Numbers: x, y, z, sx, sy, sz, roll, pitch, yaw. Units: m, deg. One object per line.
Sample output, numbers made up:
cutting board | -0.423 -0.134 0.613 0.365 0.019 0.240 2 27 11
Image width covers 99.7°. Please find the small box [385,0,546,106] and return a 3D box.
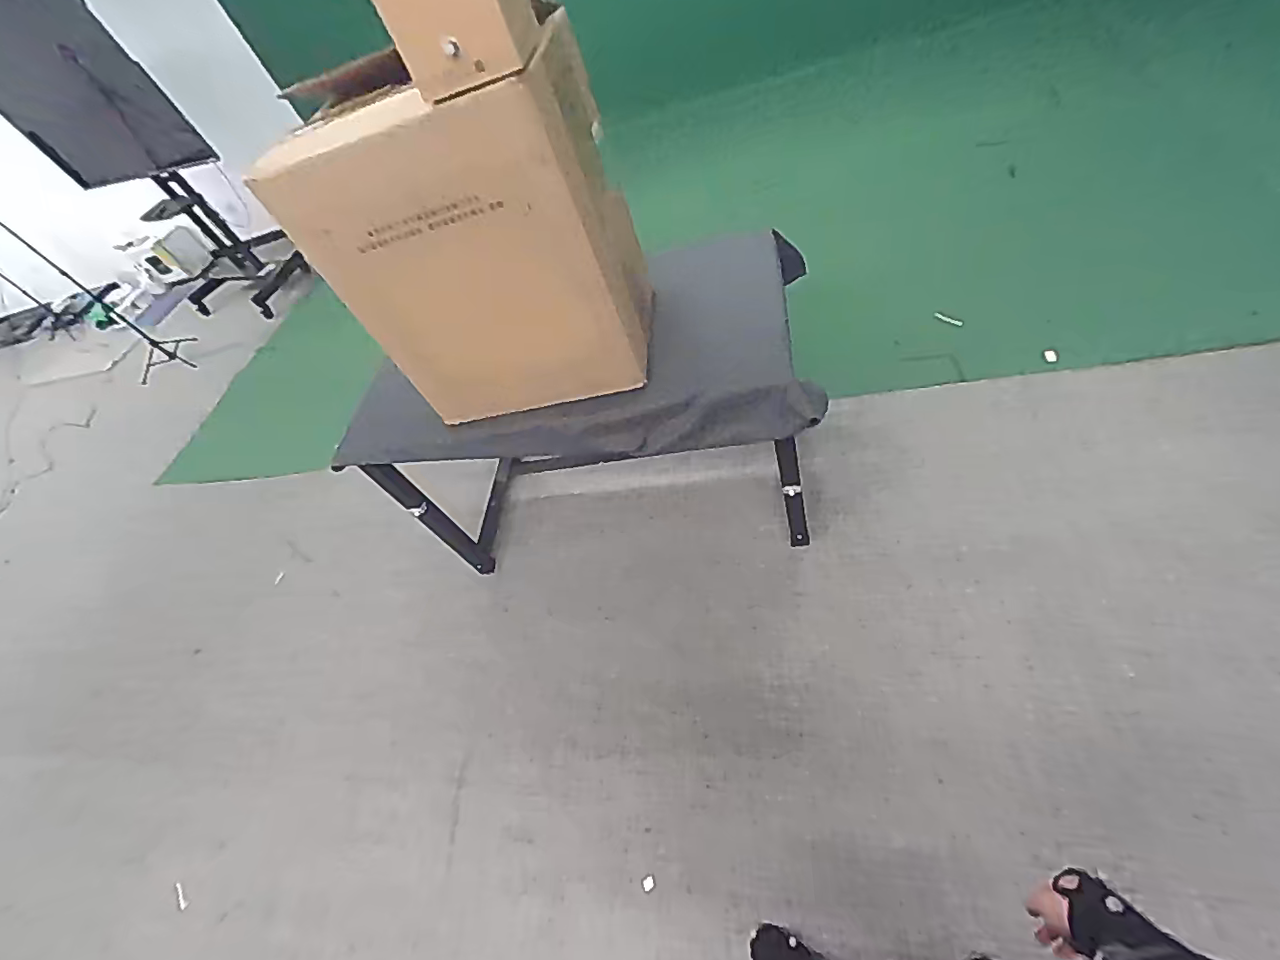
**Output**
small box | -0.251 -0.686 0.789 0.168 0.176 0.179 -8 52 15
